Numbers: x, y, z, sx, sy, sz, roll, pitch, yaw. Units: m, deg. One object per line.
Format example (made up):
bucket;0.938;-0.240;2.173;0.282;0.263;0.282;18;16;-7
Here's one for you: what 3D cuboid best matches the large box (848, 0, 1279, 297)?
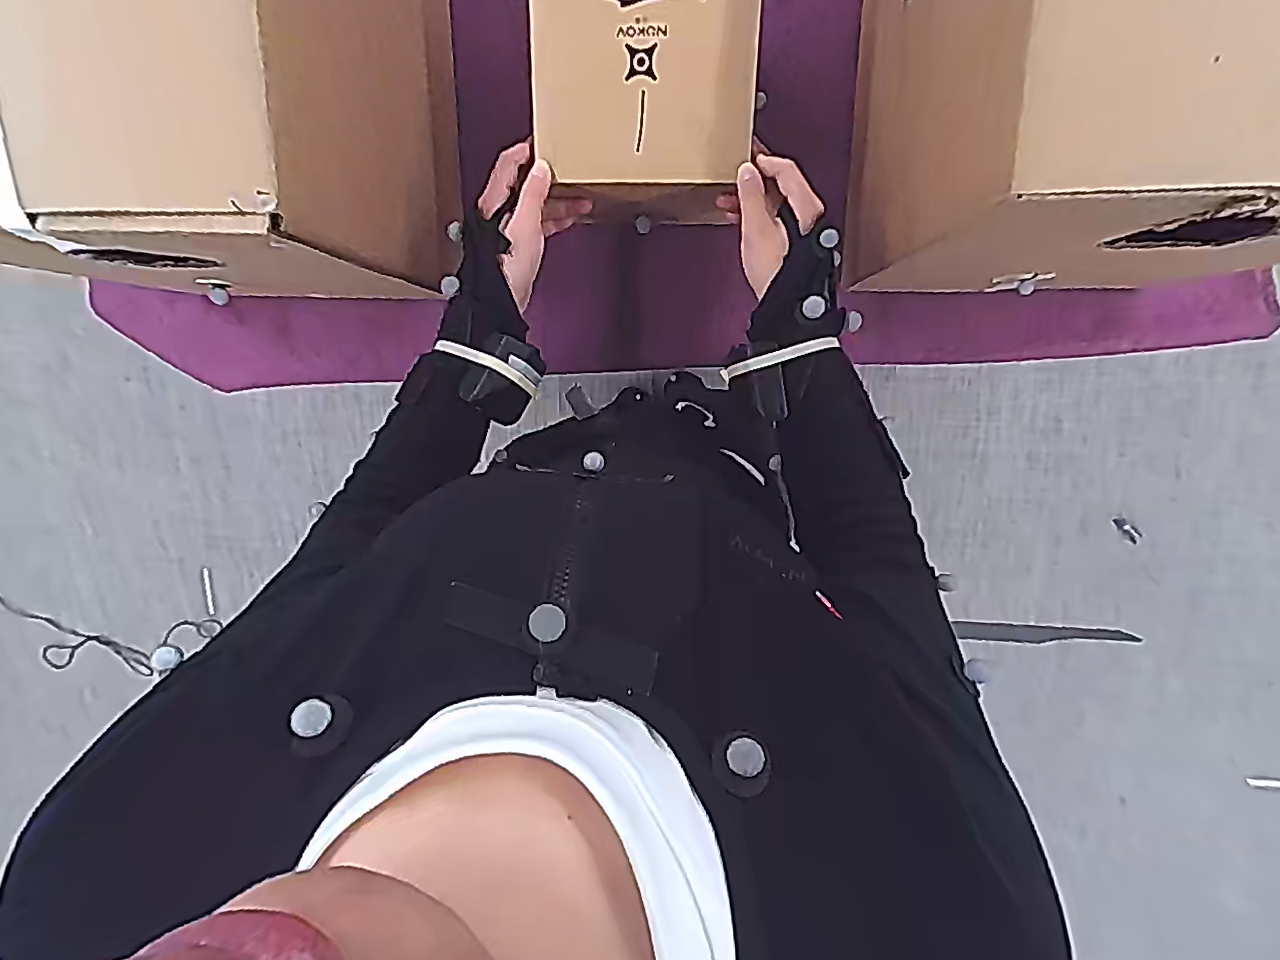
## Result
large box;0.350;-0.364;0.380;0.320;0.320;0.408;1;100;4
